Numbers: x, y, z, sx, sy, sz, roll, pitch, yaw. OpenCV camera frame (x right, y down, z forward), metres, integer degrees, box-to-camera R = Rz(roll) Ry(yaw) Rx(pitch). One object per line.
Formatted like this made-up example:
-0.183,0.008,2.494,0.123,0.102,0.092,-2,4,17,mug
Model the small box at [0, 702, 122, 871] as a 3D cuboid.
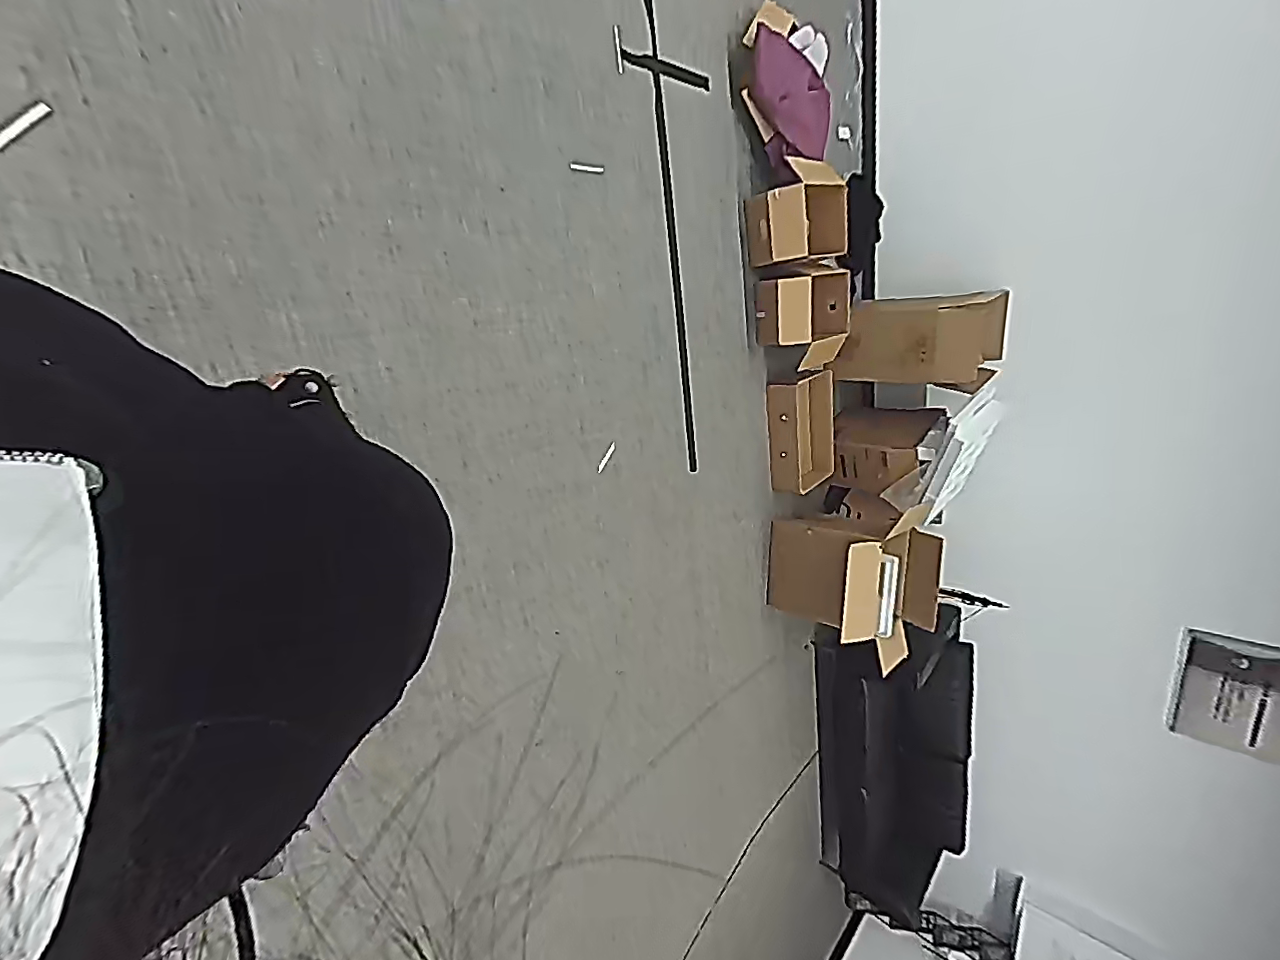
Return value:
-1.057,0.519,0.947,0.168,0.176,0.179,-26,115,-40,small box
